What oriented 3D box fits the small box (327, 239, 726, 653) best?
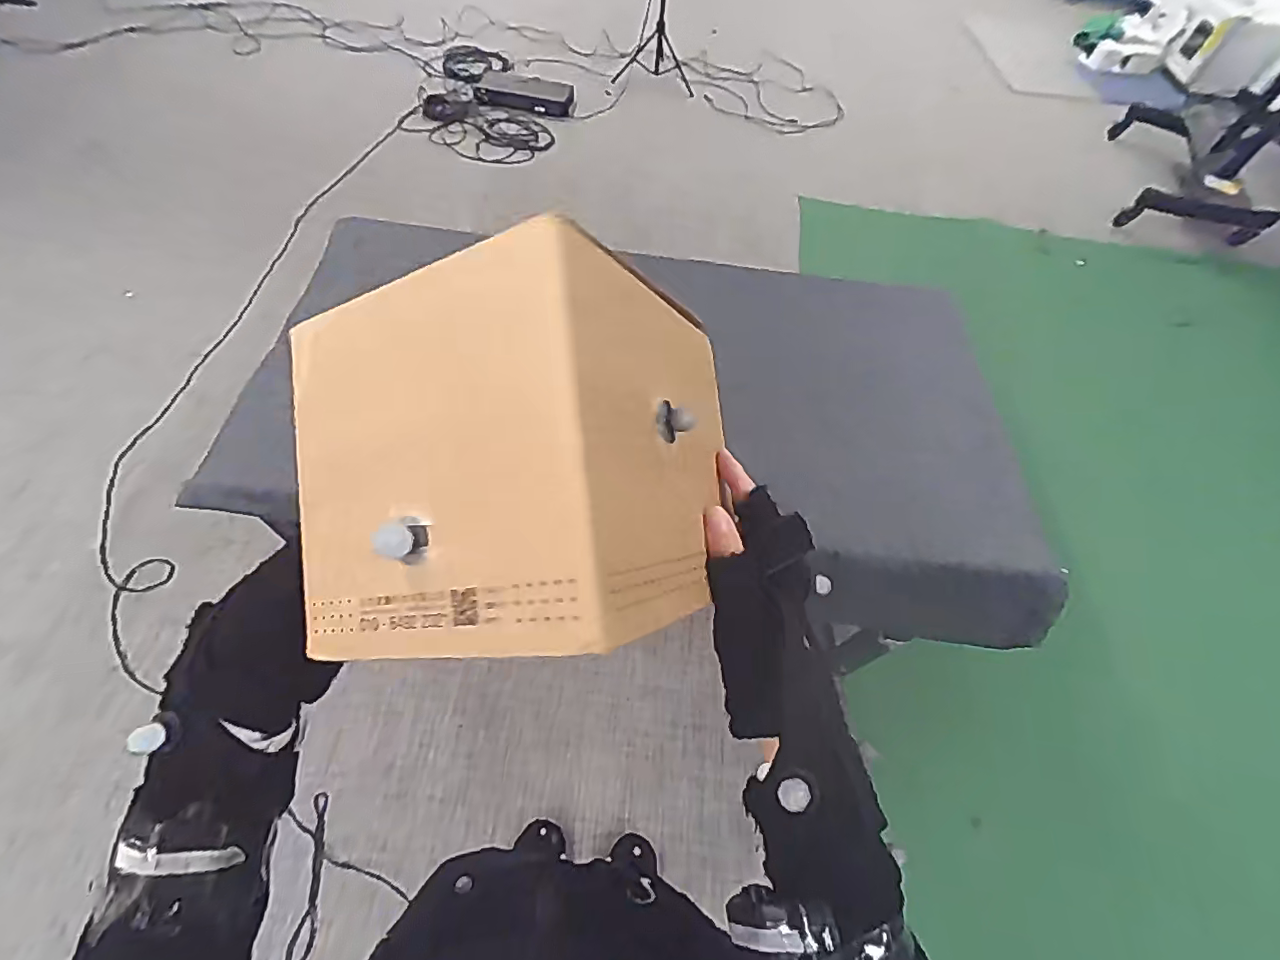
[{"bbox_3d":[-0.053,-0.003,0.322,0.168,0.179,0.176,-9,84,25],"label":"small box"}]
